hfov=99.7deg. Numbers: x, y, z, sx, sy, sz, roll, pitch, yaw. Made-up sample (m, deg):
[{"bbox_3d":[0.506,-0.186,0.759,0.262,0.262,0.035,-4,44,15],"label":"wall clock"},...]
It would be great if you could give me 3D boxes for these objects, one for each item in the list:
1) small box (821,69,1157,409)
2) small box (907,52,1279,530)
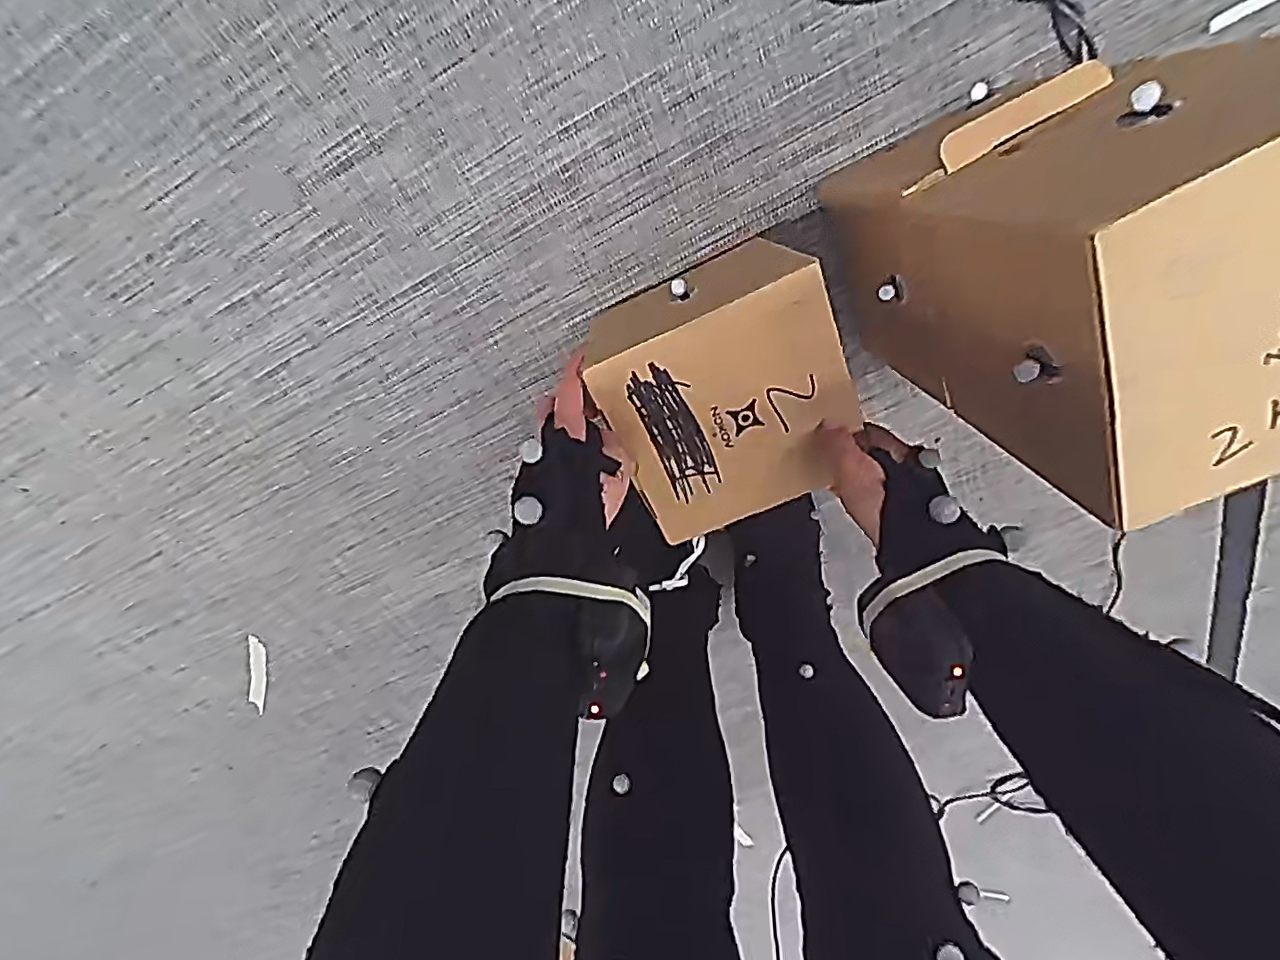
[{"bbox_3d":[0.273,-0.193,0.451,0.168,0.176,0.179,-24,119,10],"label":"small box"},{"bbox_3d":[0.282,-0.110,0.309,0.168,0.176,0.179,-26,119,12],"label":"small box"}]
